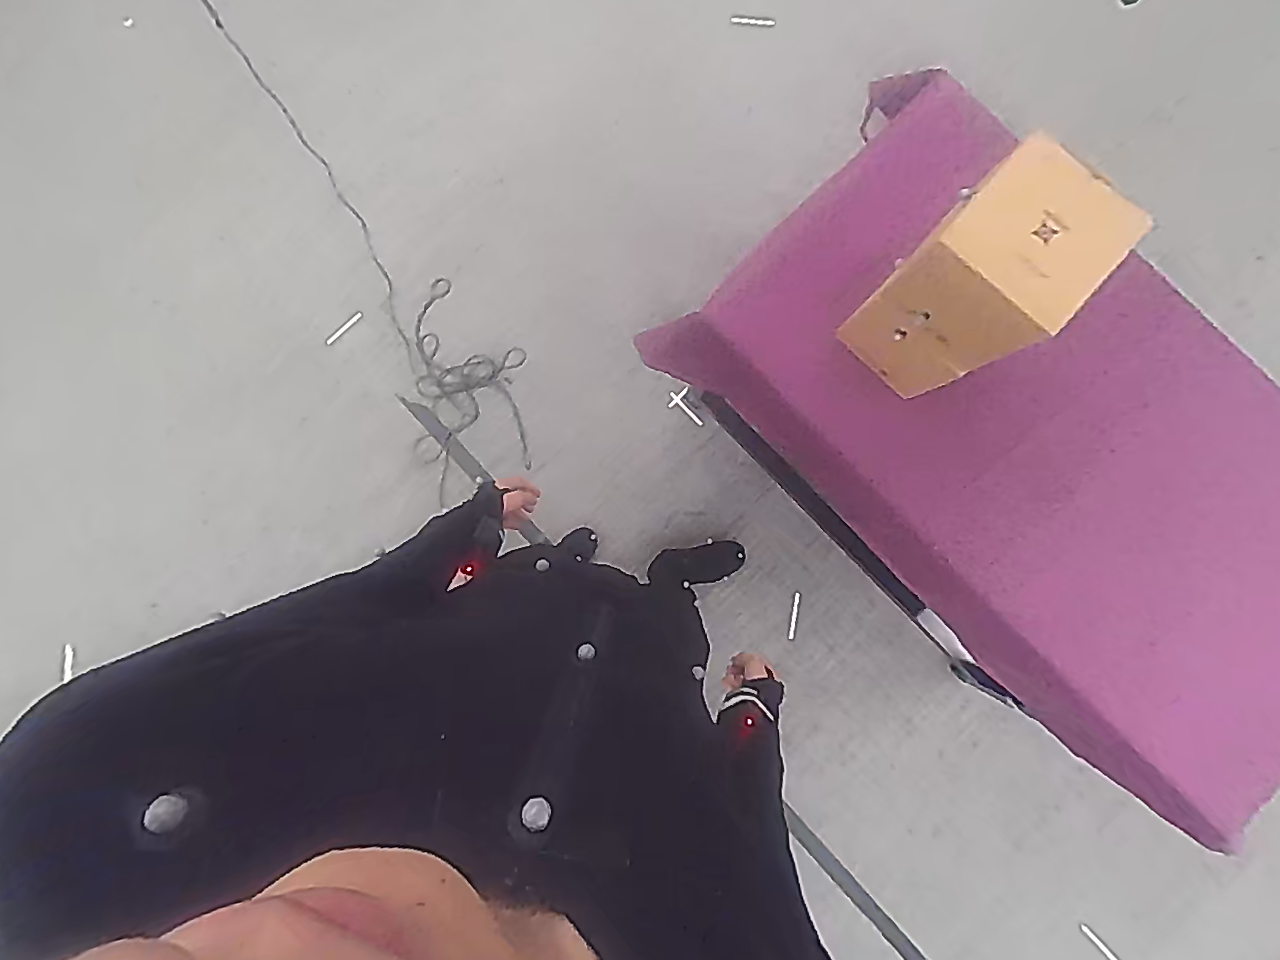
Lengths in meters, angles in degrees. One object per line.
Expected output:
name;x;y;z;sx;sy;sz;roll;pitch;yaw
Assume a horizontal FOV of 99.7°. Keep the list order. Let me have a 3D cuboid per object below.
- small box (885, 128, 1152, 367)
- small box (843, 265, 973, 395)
small box;0.447;-0.271;0.673;0.168;0.176;0.179;43;88;3
small box;0.451;-0.258;0.836;0.168;0.176;0.179;44;88;3
